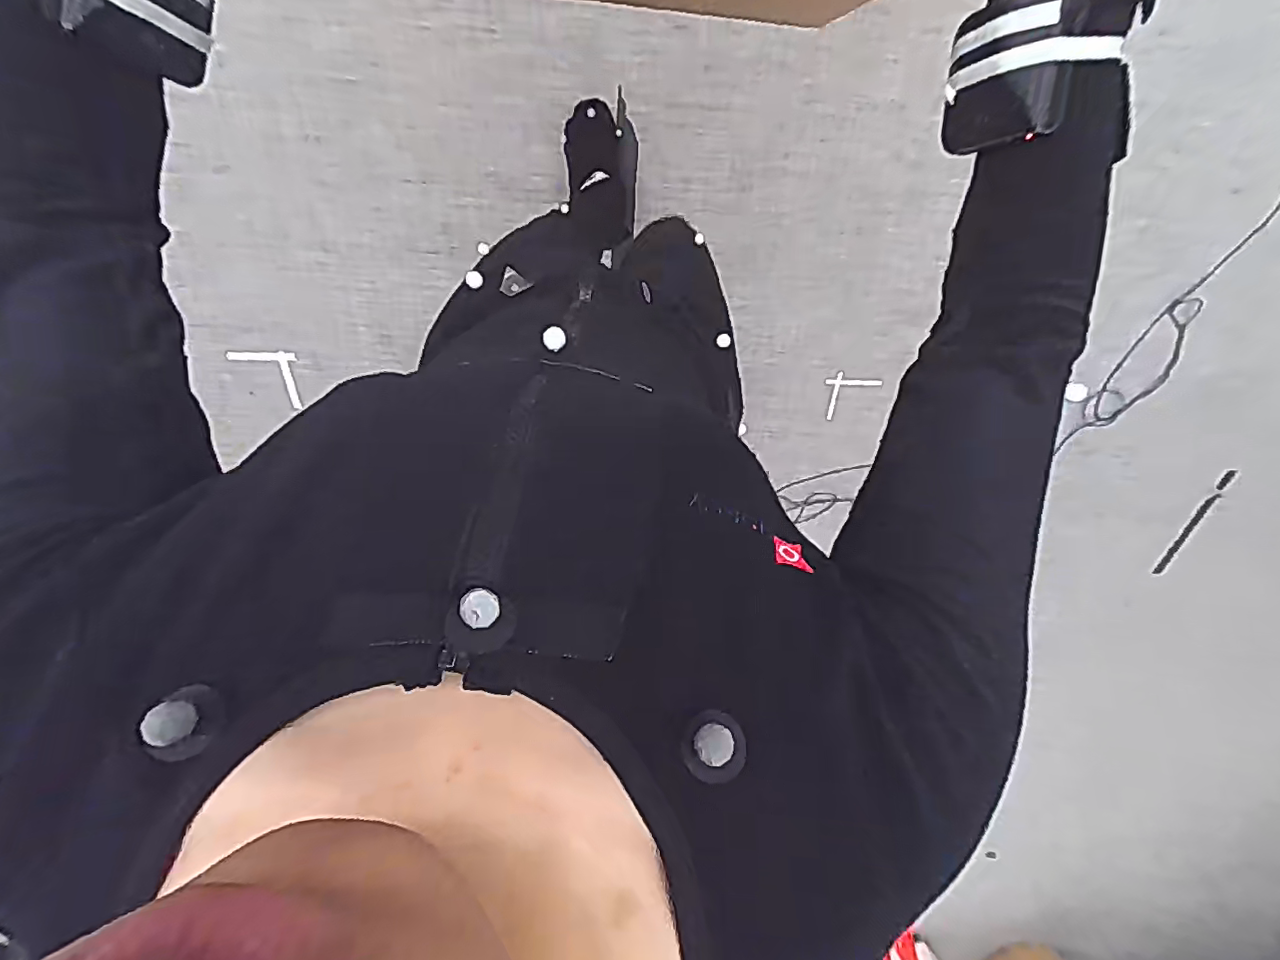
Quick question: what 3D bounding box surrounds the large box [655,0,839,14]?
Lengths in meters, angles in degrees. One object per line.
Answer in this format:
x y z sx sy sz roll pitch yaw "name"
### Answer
-0.003 -0.519 0.325 0.408 0.320 0.320 3 124 -3 "large box"
